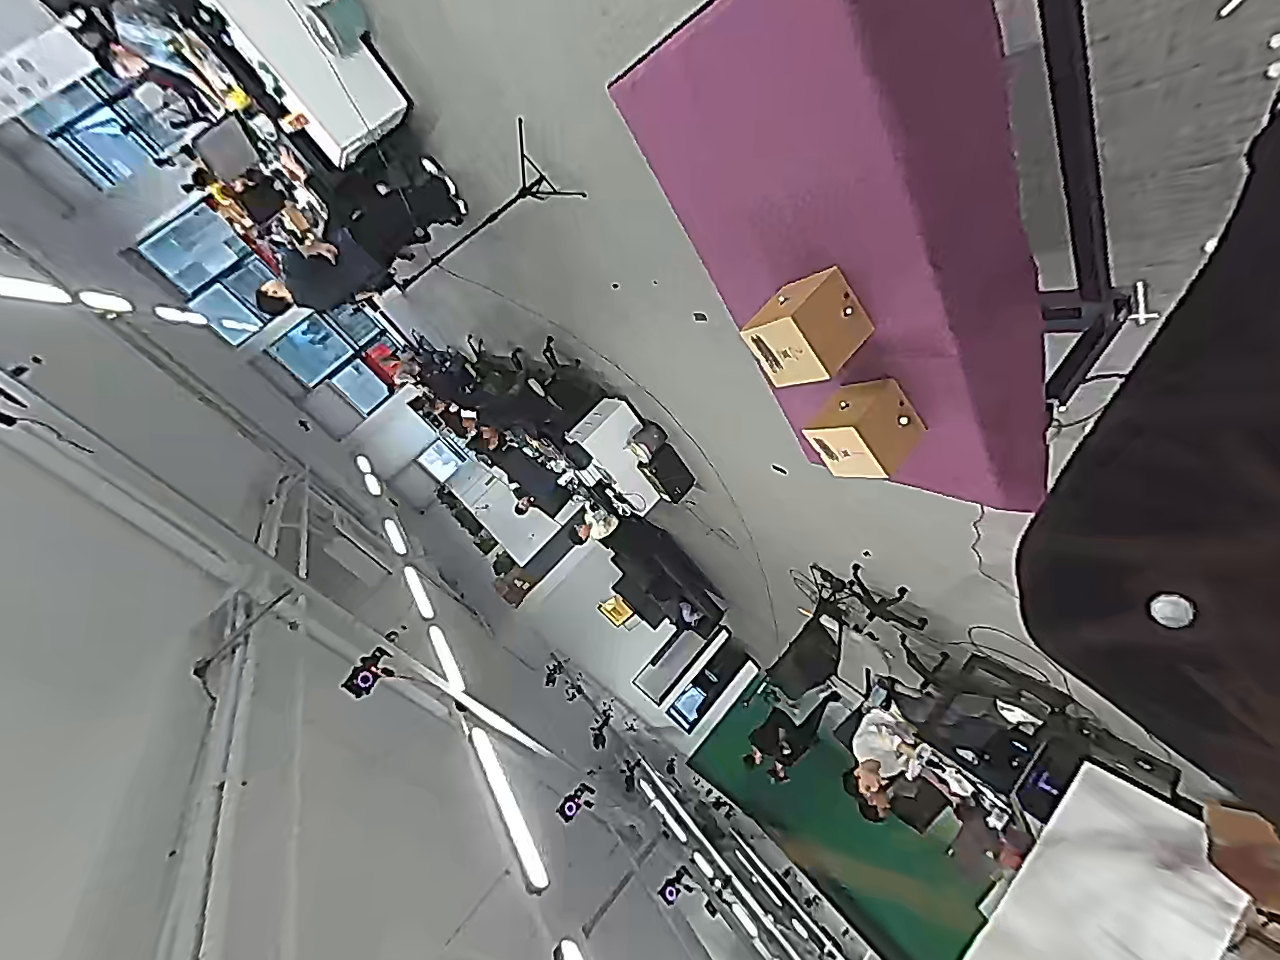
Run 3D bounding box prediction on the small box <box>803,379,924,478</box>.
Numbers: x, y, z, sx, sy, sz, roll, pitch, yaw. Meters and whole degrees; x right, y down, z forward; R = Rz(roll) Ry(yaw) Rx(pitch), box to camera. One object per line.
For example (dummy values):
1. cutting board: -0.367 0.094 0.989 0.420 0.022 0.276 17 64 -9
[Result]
1. small box: 0.545 -0.126 1.317 0.168 0.176 0.179 47 166 -18
